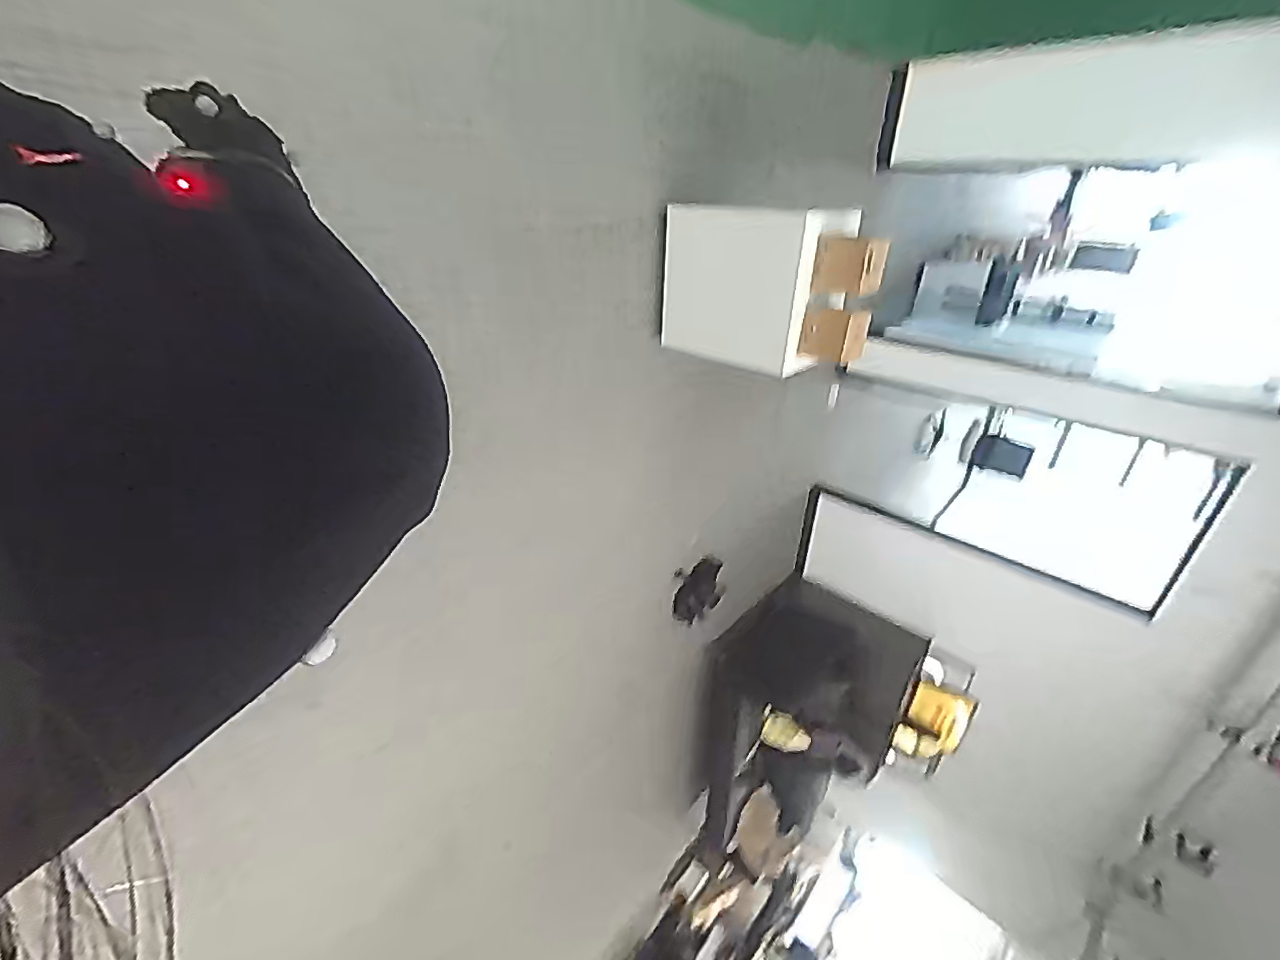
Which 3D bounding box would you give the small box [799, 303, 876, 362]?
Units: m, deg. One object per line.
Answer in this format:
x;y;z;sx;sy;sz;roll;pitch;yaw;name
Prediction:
0.670;-0.508;1.842;0.179;0.176;0.168;-20;124;-42;small box

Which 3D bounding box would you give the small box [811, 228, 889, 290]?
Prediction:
0.674;-0.718;1.752;0.179;0.176;0.168;-29;131;-41;small box
